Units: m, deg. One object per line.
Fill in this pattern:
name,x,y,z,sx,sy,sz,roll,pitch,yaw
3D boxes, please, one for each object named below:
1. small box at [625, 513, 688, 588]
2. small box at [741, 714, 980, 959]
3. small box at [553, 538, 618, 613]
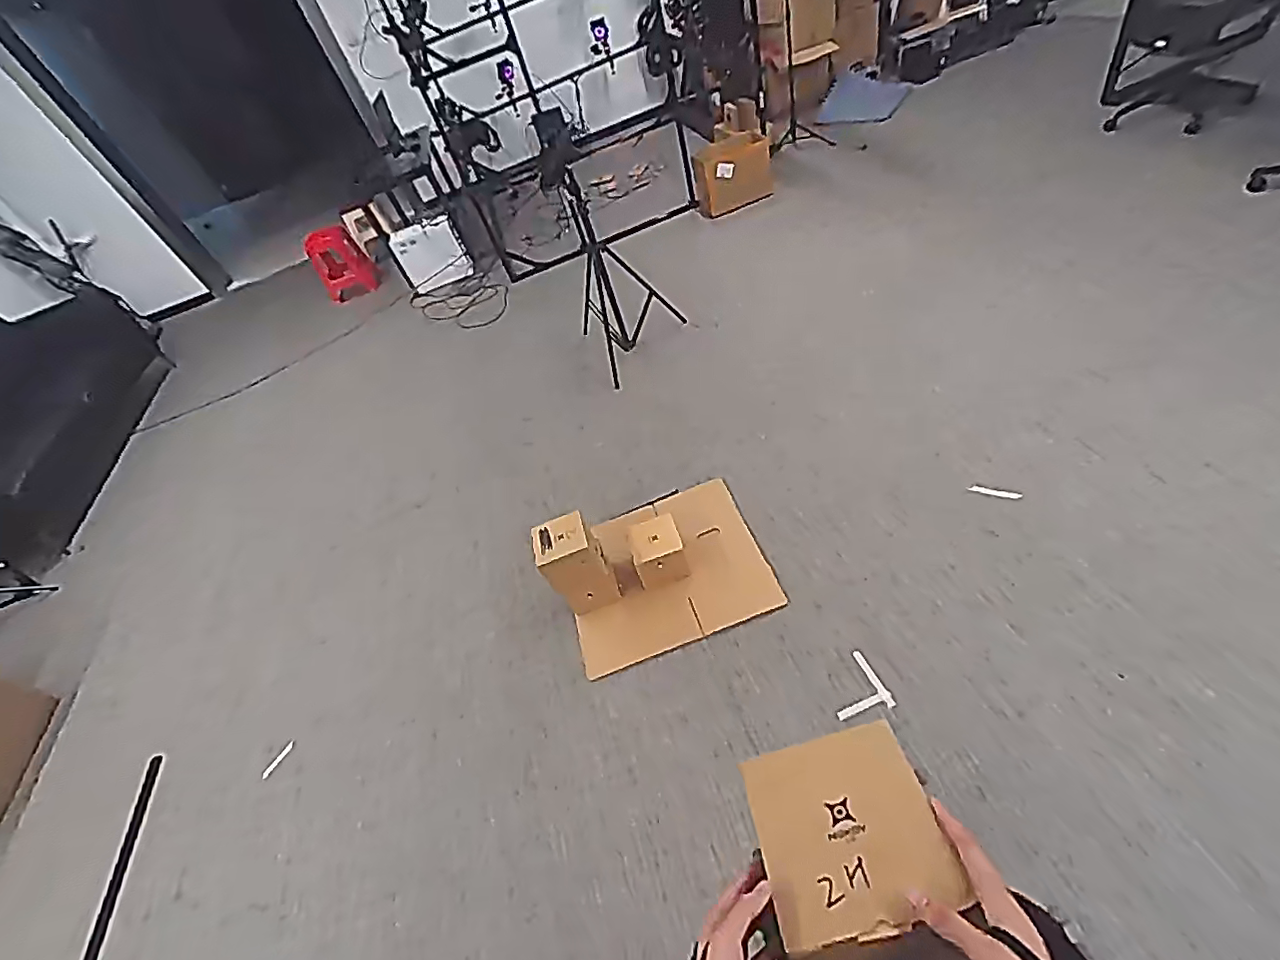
small box,0.063,0.252,1.903,0.179,0.176,0.168,-20,46,1
small box,0.218,0.384,0.556,0.168,0.176,0.179,-20,29,7
small box,-0.187,0.341,1.910,0.179,0.176,0.168,-22,46,1
